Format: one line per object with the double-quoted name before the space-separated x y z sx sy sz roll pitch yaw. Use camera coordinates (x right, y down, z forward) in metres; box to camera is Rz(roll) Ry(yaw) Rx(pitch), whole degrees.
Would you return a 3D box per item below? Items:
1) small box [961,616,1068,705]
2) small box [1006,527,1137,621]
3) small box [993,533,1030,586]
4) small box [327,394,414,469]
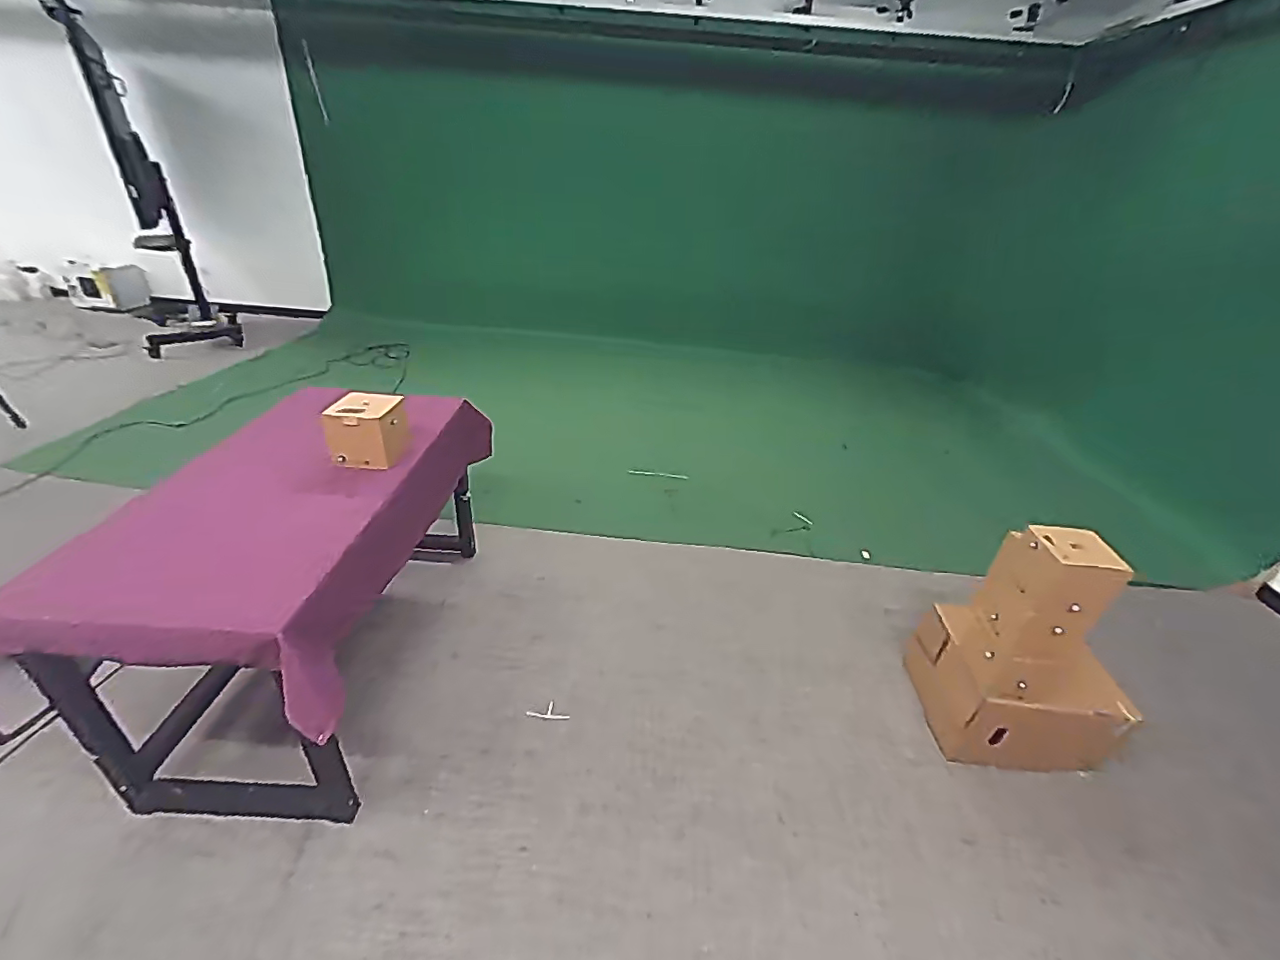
"small box" 1.079 0.526 1.574 0.168 0.176 0.179 8 31 2
"small box" 1.108 0.246 1.407 0.179 0.176 0.168 7 31 2
"small box" 1.252 0.291 1.686 0.168 0.176 0.179 7 29 -1
"small box" -0.802 -0.145 1.629 0.168 0.176 0.179 5 30 1
